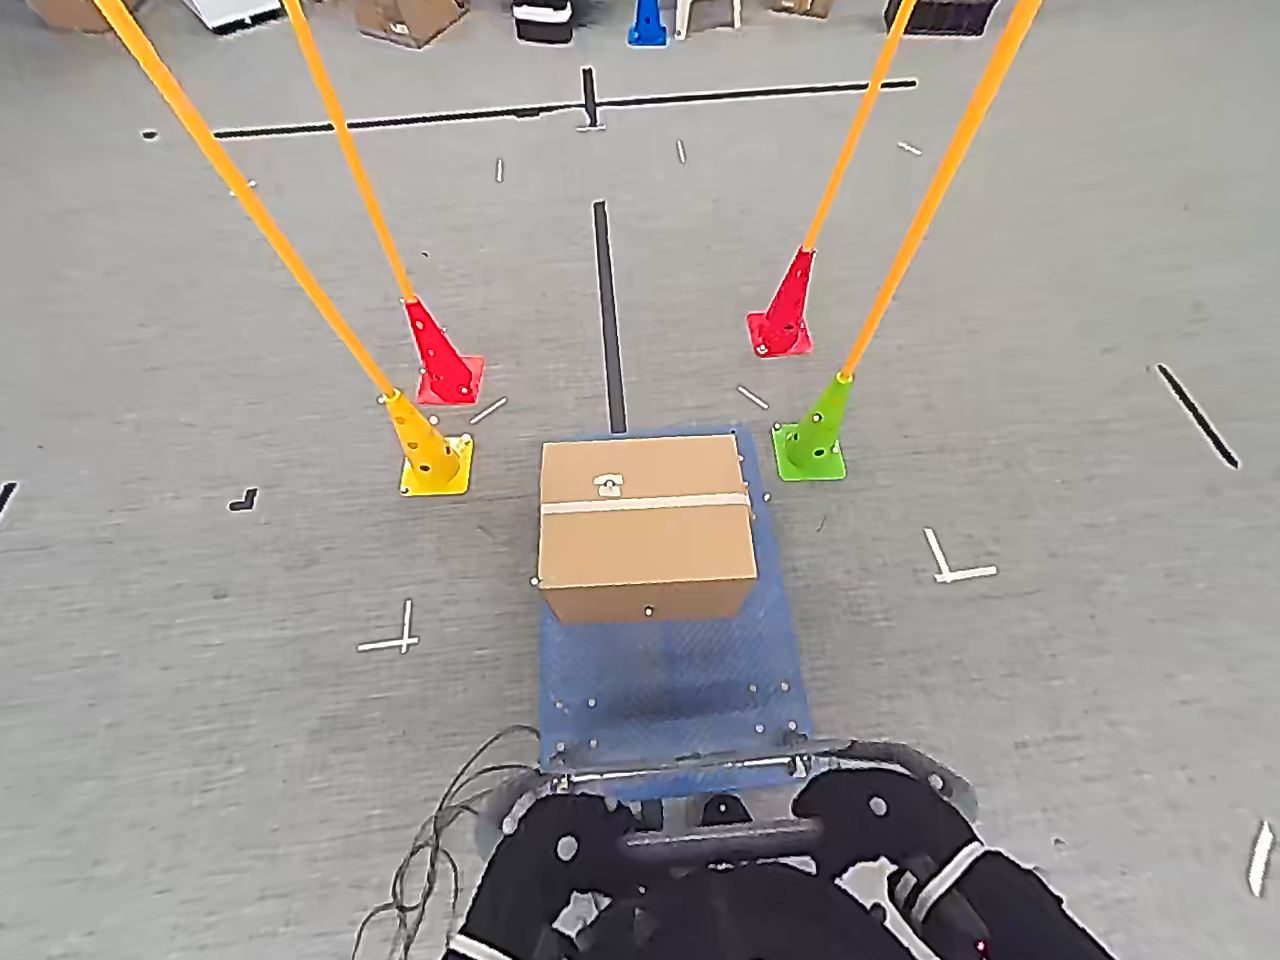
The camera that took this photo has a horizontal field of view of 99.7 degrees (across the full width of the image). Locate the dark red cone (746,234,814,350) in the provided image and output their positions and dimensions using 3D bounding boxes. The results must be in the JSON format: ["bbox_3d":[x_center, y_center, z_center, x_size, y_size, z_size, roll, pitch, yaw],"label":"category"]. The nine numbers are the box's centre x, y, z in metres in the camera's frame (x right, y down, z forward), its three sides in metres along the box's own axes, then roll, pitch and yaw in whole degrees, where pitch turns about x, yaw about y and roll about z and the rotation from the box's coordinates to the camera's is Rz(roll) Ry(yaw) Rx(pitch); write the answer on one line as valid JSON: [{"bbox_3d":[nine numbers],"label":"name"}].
[{"bbox_3d":[0.482,-0.605,1.731,0.201,0.394,0.202,-5,62,-4],"label":"dark red cone"}]

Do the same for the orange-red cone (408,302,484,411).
[{"bbox_3d":[-0.632,-0.401,1.664,0.198,0.360,0.199,1,60,1],"label":"orange-red cone"}]

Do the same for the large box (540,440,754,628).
[{"bbox_3d":[0.010,0.133,1.198,0.408,0.320,0.320,-4,62,0],"label":"large box"}]

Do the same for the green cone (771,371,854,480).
[{"bbox_3d":[0.515,-0.171,1.516,0.202,0.368,0.200,-2,62,-1],"label":"green cone"}]
